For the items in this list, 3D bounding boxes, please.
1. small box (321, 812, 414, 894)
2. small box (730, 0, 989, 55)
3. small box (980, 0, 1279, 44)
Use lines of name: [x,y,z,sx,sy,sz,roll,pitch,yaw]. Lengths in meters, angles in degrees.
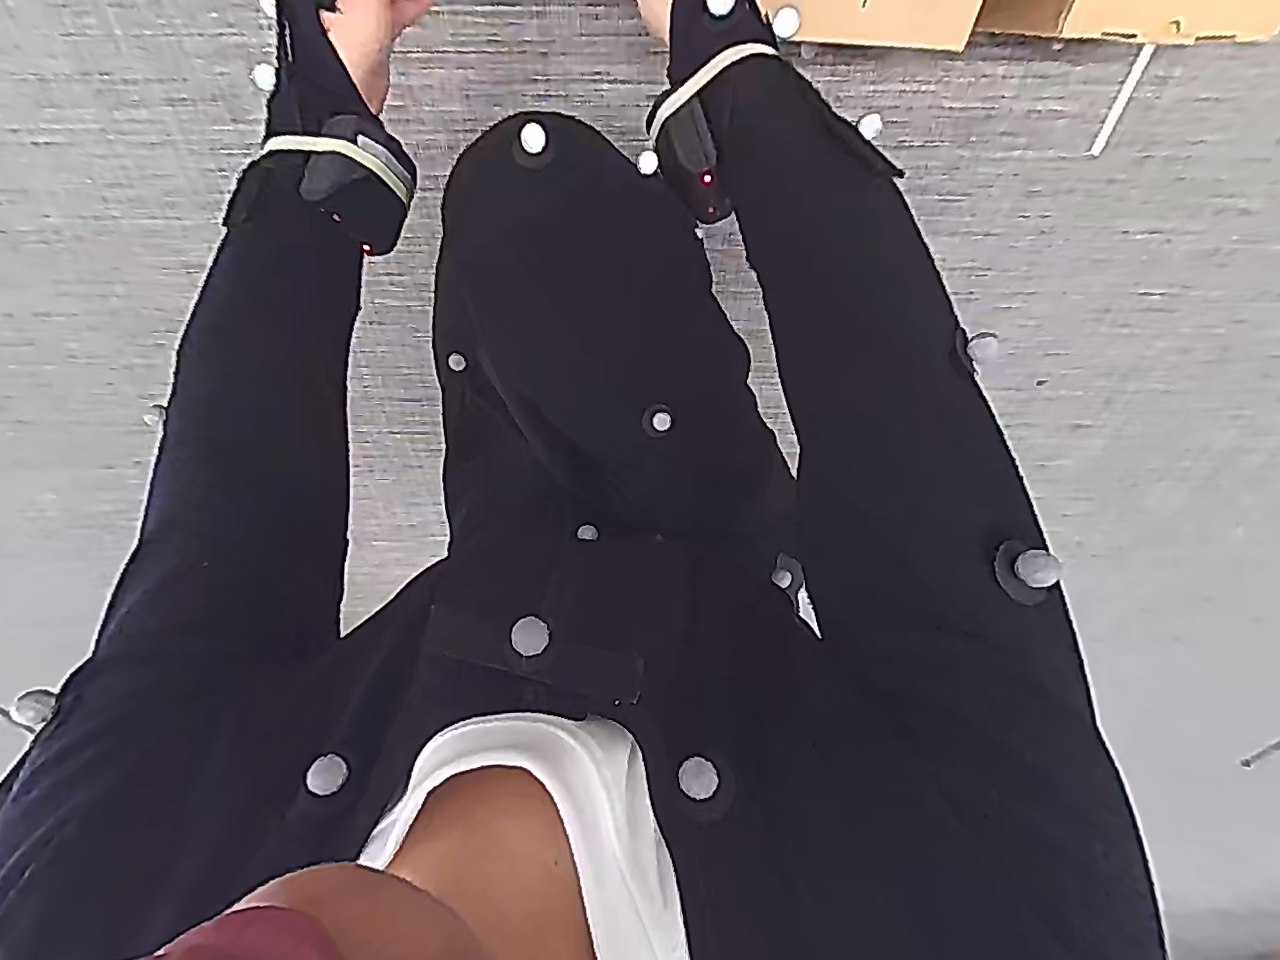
small box: [-0.814,1.125,1.635,0.179,0.176,0.168,-3,131,0]
small box: [0.168,-0.438,0.401,0.168,0.176,0.179,2,132,-2]
small box: [0.395,-0.443,0.403,0.168,0.176,0.179,0,132,-1]
